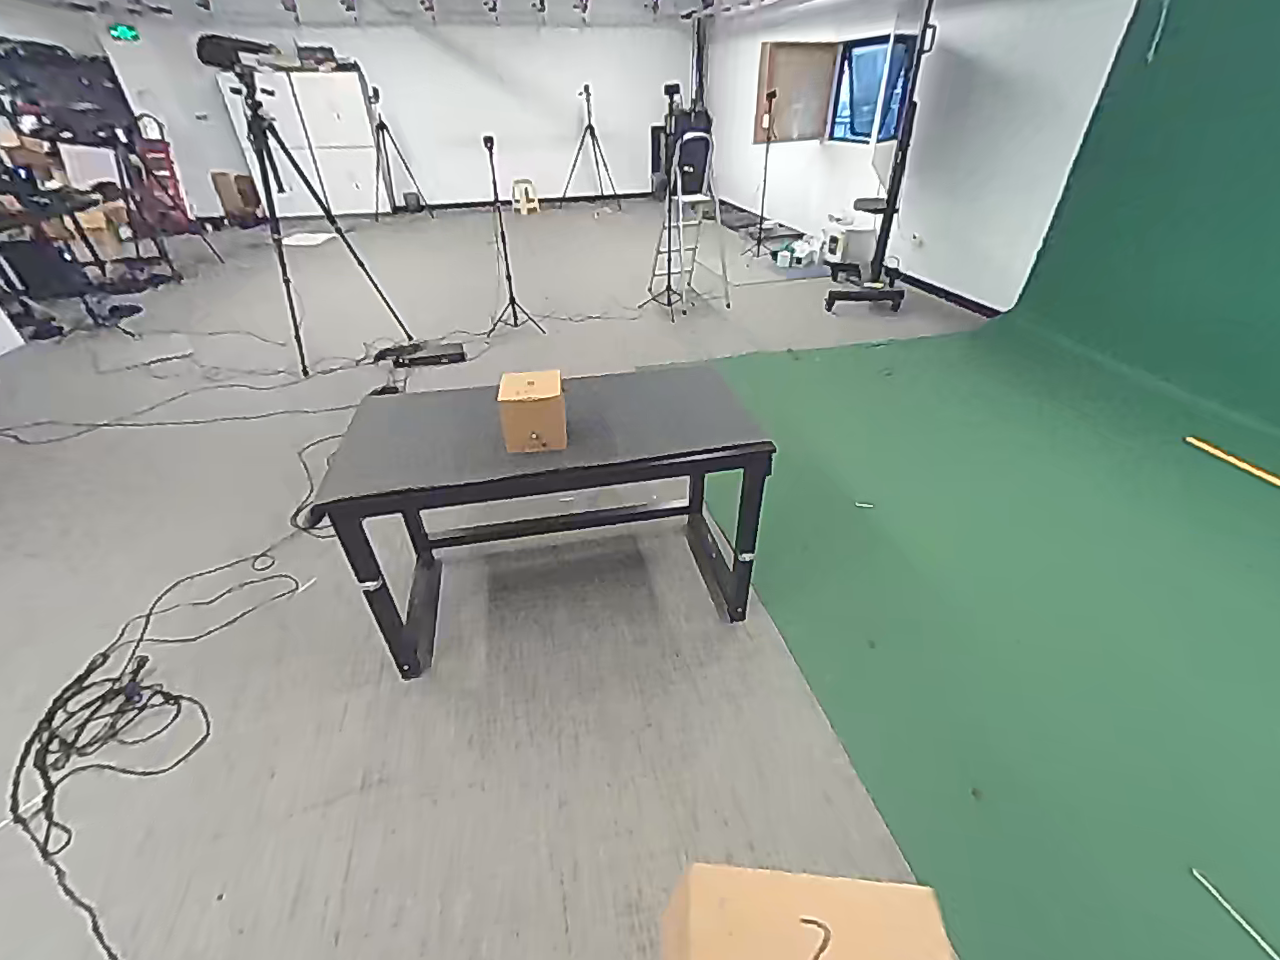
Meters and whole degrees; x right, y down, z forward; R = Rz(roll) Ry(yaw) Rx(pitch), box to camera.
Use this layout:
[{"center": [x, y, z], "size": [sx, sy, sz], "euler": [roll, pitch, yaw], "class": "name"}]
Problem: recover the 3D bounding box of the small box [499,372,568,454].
[{"center": [-0.295, -0.192, 1.531], "size": [0.168, 0.176, 0.179], "euler": [-6, 35, -5], "class": "small box"}]
